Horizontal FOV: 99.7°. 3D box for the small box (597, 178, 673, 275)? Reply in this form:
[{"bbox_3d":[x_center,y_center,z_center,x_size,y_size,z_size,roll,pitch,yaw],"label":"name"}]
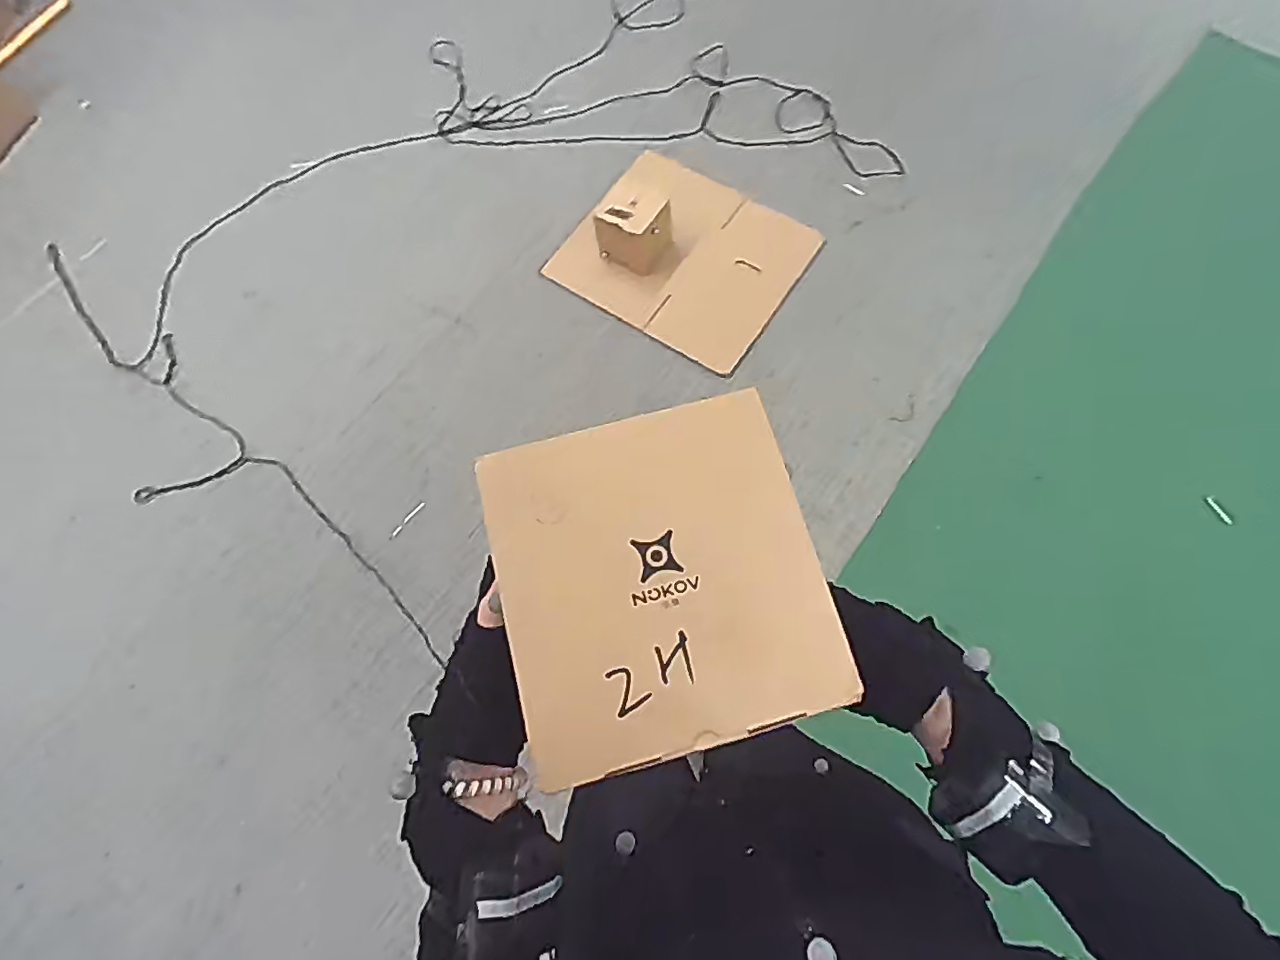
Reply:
[{"bbox_3d":[-0.009,-0.765,1.646,0.168,0.176,0.179,31,75,12],"label":"small box"}]

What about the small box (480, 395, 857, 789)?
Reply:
[{"bbox_3d":[0.008,0.070,0.361,0.168,0.176,0.179,-14,76,-4],"label":"small box"}]
